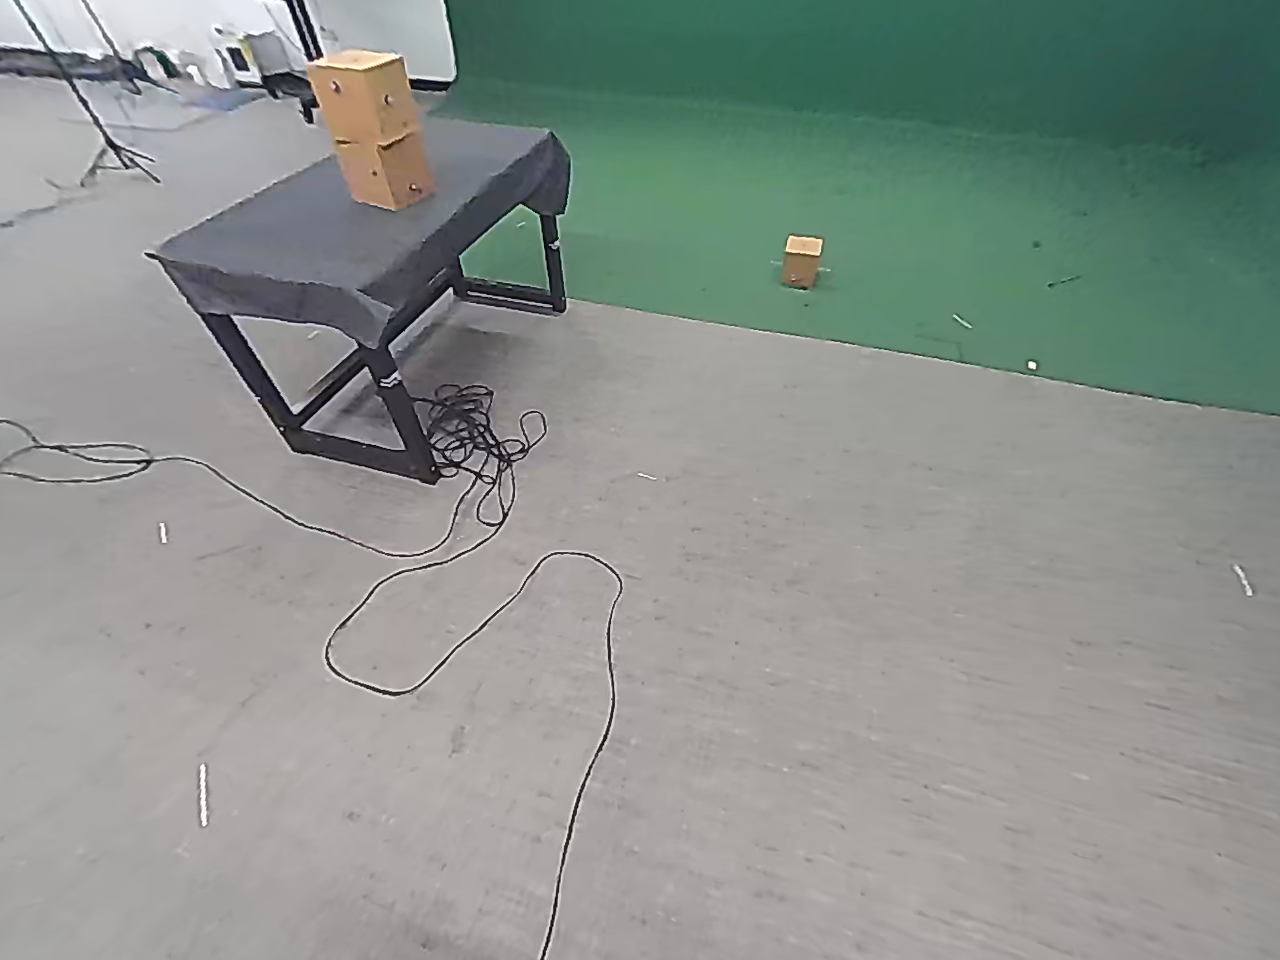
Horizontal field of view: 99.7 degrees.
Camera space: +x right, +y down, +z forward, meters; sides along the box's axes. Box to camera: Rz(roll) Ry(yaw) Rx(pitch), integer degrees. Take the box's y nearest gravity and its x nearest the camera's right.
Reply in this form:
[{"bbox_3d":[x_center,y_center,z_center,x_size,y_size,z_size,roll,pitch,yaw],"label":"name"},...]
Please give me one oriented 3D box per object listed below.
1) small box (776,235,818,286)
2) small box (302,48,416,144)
[{"bbox_3d":[0.780,-1.091,2.686,0.168,0.176,0.179,12,50,11],"label":"small box"},{"bbox_3d":[-0.726,-1.007,1.422,0.179,0.176,0.168,14,51,13],"label":"small box"}]
